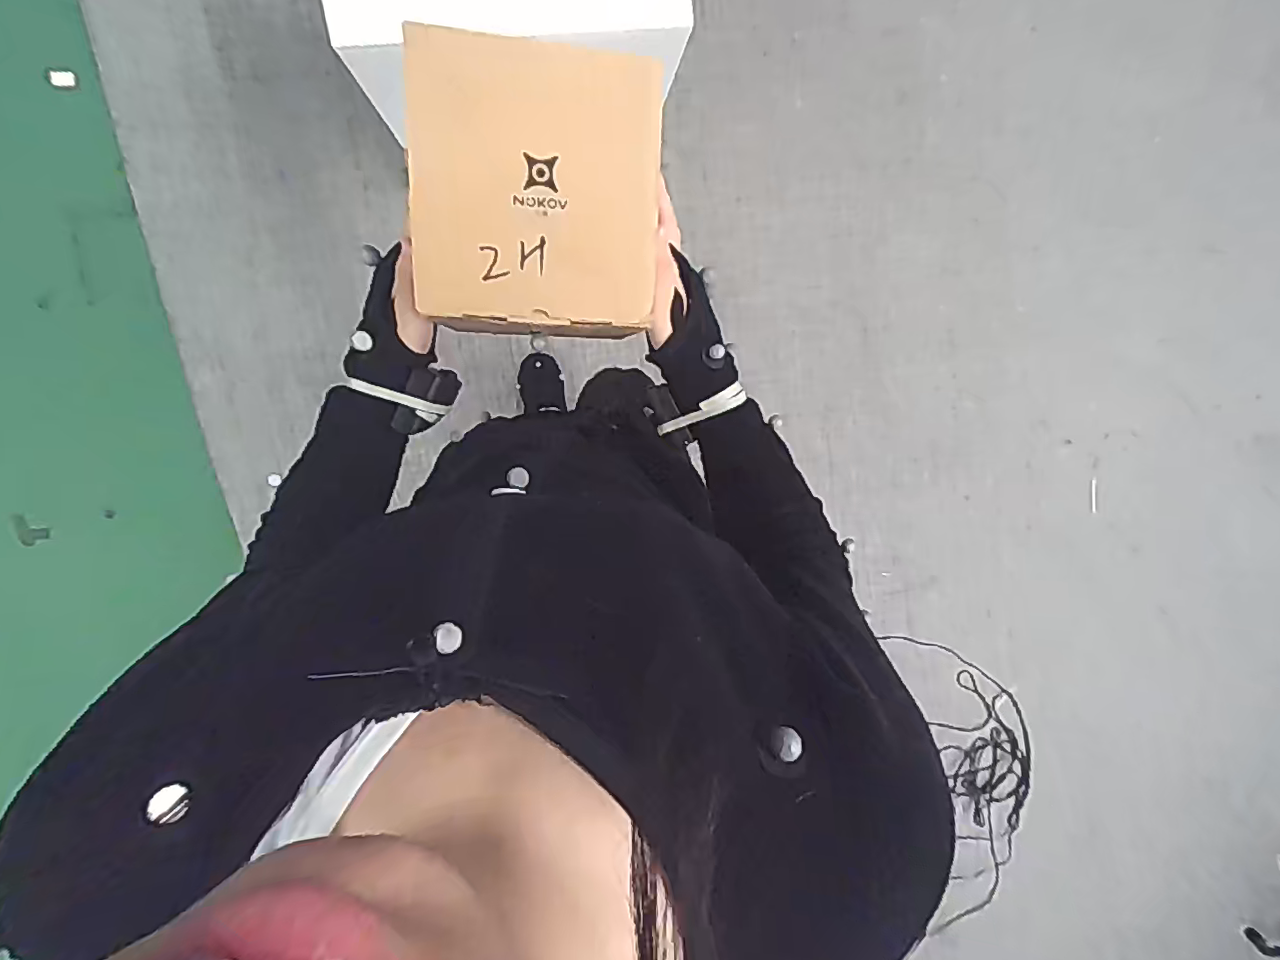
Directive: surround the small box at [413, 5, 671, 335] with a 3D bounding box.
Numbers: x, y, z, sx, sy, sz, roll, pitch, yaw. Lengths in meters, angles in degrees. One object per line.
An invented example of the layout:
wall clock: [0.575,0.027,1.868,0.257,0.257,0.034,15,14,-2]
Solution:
small box: [-0.077,-0.216,0.433,0.168,0.176,0.179,0,101,-10]
